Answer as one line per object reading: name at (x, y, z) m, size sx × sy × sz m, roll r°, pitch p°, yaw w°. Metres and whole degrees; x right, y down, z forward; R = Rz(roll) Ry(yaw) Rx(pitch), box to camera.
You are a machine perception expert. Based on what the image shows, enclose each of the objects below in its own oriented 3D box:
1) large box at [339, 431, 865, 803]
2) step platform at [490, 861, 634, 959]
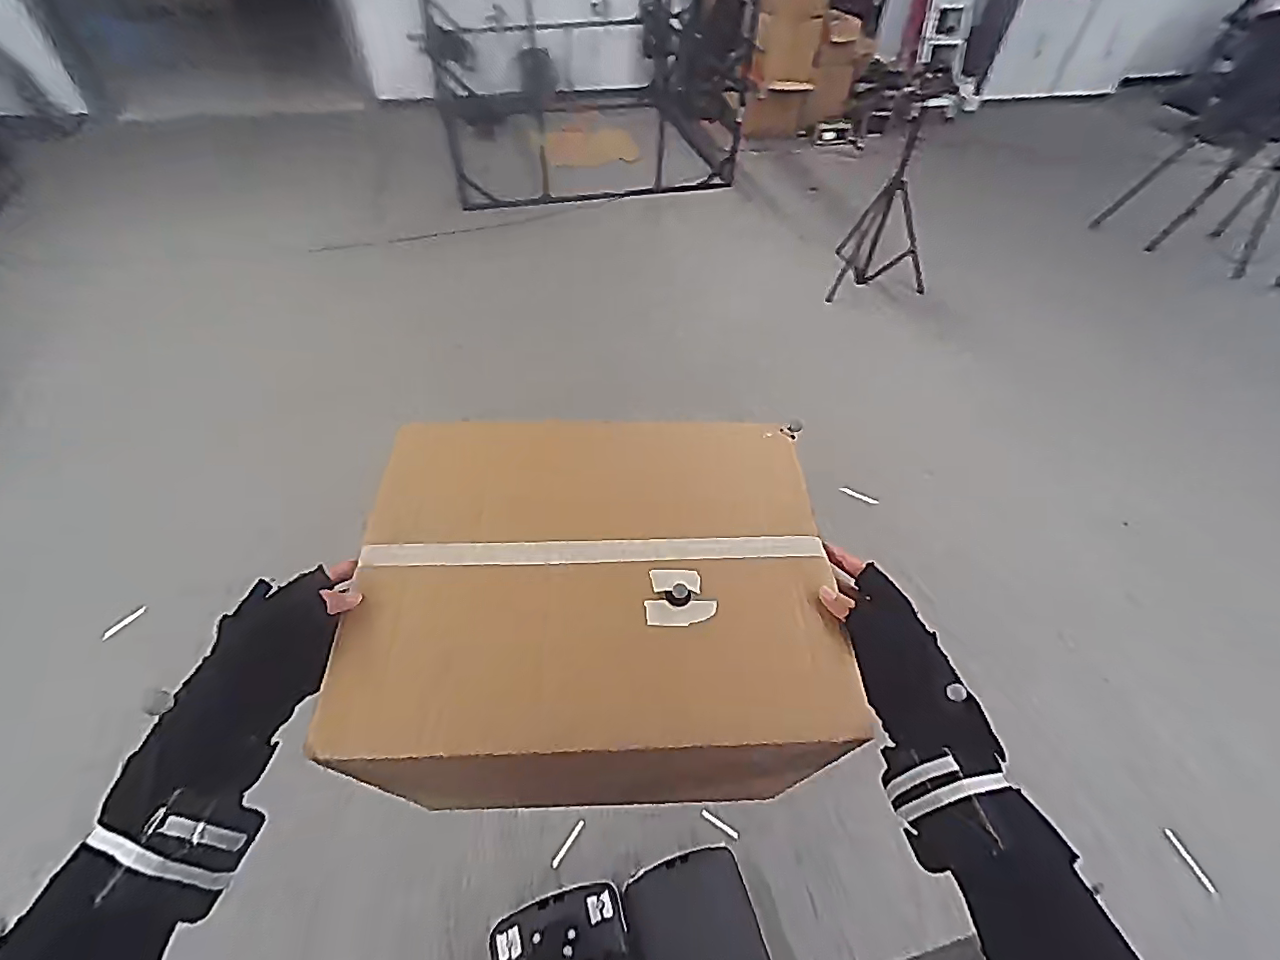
large box at (-0.037, 0.159, 0.609) m, size 0.408 × 0.320 × 0.320 m, roll 0°, pitch 53°, yaw -3°
step platform at (-0.105, 1.174, 1.064) m, size 0.286 × 0.204 × 0.684 m, roll -13°, pitch 50°, yaw -13°
